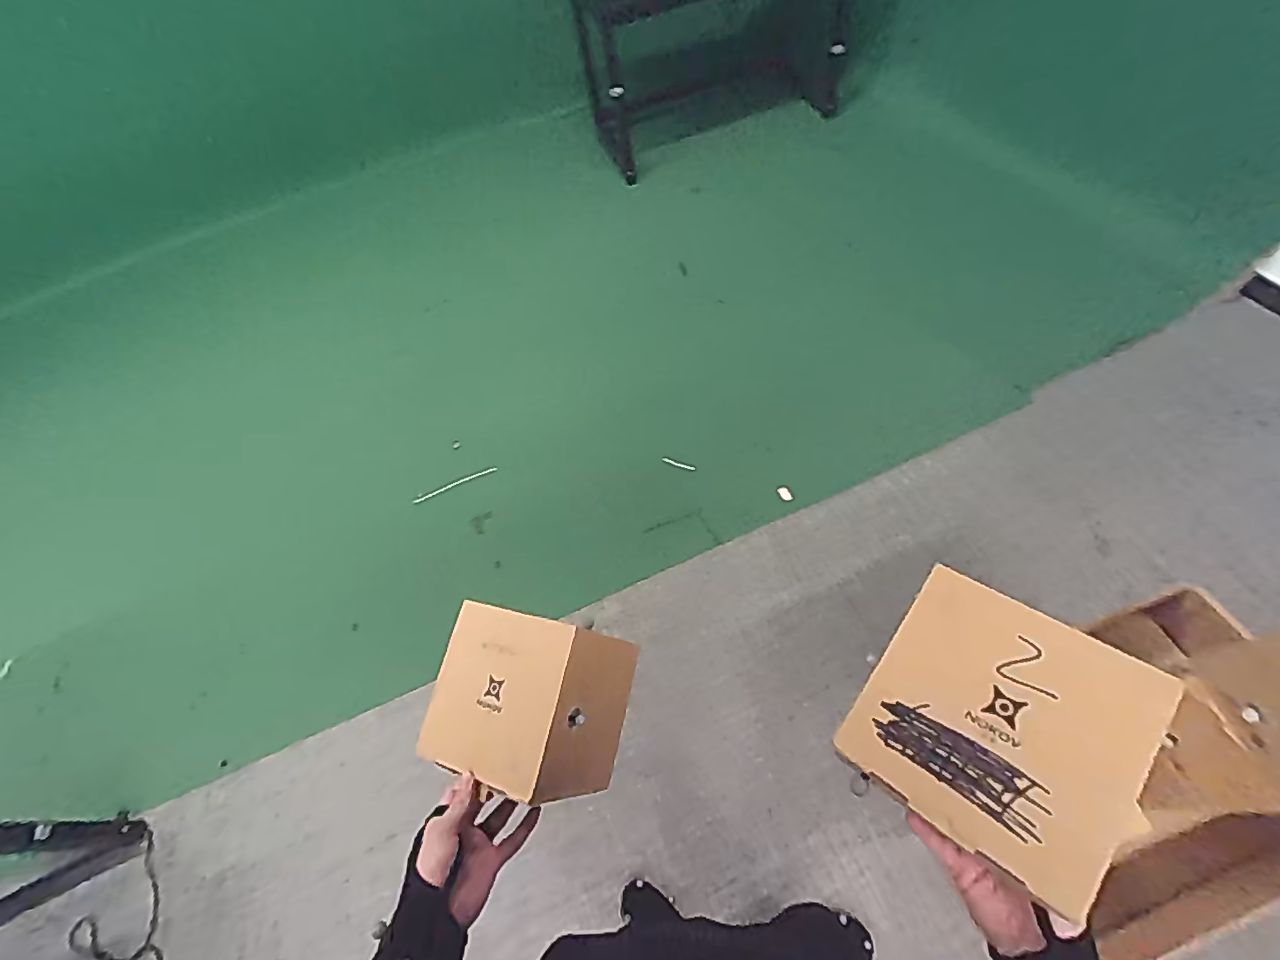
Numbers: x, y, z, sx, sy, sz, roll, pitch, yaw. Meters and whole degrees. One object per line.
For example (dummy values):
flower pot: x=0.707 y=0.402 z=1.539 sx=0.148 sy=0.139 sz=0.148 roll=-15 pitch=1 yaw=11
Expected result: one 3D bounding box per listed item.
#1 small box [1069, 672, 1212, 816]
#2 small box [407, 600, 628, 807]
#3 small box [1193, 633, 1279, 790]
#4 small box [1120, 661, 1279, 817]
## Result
small box: x=0.869 y=0.425 z=0.884 sx=0.179 sy=0.176 sz=0.168 roll=-22 pitch=56 yaw=-3
small box: x=-0.133 y=0.258 z=0.647 sx=0.168 sy=0.176 sz=0.179 roll=5 pitch=70 yaw=28
small box: x=0.817 y=0.250 z=0.613 sx=0.179 sy=0.176 sz=0.168 roll=-15 pitch=57 yaw=2
small box: x=0.841 y=0.340 z=0.748 sx=0.179 sy=0.176 sz=0.168 roll=-23 pitch=57 yaw=-3
